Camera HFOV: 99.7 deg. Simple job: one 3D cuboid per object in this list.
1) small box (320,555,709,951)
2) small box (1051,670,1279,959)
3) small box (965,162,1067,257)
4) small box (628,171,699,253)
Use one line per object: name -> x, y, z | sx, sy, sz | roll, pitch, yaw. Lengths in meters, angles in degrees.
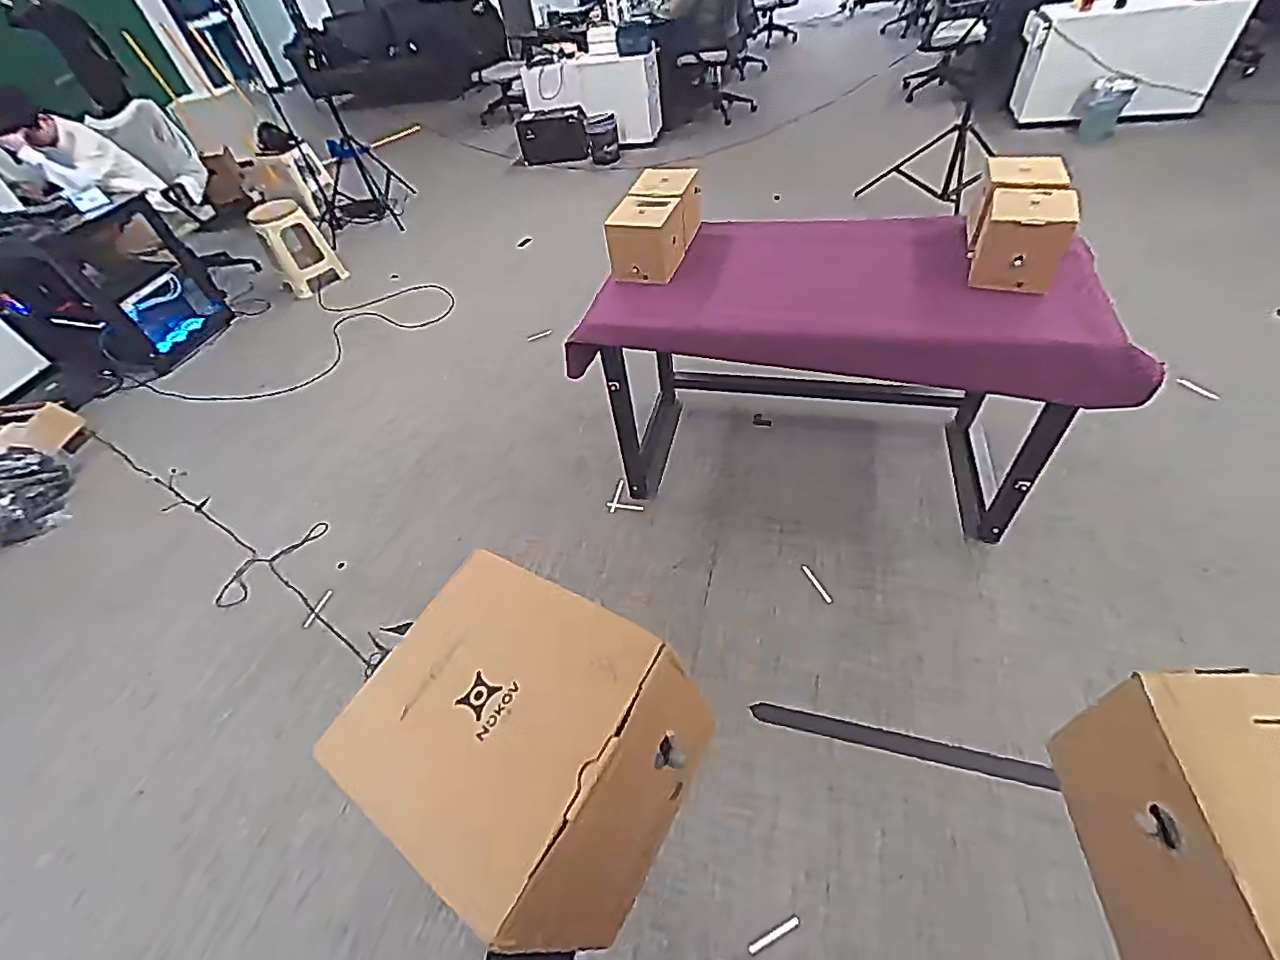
small box -> -0.069, 0.186, 0.388 | 0.179, 0.176, 0.168 | 16, 58, 32
small box -> 0.387, 0.227, 0.319 | 0.168, 0.176, 0.179 | -5, 51, 13
small box -> 0.957, -0.699, 1.394 | 0.168, 0.176, 0.179 | 10, 50, 17
small box -> 0.077, -0.811, 1.635 | 0.168, 0.176, 0.179 | 10, 52, 18
